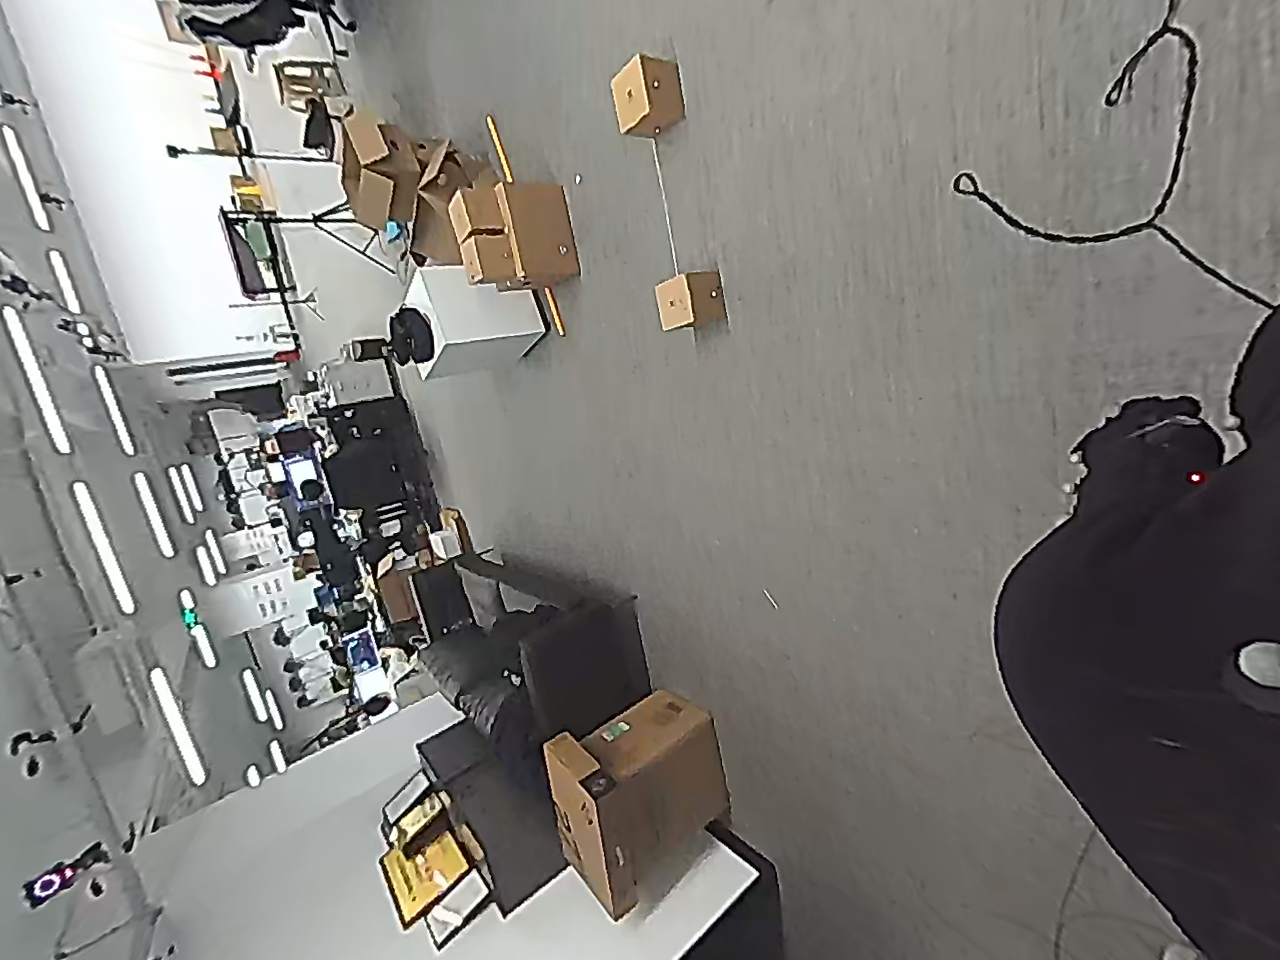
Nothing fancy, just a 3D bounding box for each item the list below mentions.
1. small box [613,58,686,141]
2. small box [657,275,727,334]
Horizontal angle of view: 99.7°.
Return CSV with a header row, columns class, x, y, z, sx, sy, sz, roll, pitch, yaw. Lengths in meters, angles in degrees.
class,x,y,z,sx,sy,sz,roll,pitch,yaw
small box,0.035,-1.296,1.856,0.168,0.176,0.179,1,108,53
small box,0.191,-0.637,1.963,0.179,0.176,0.168,1,107,54
